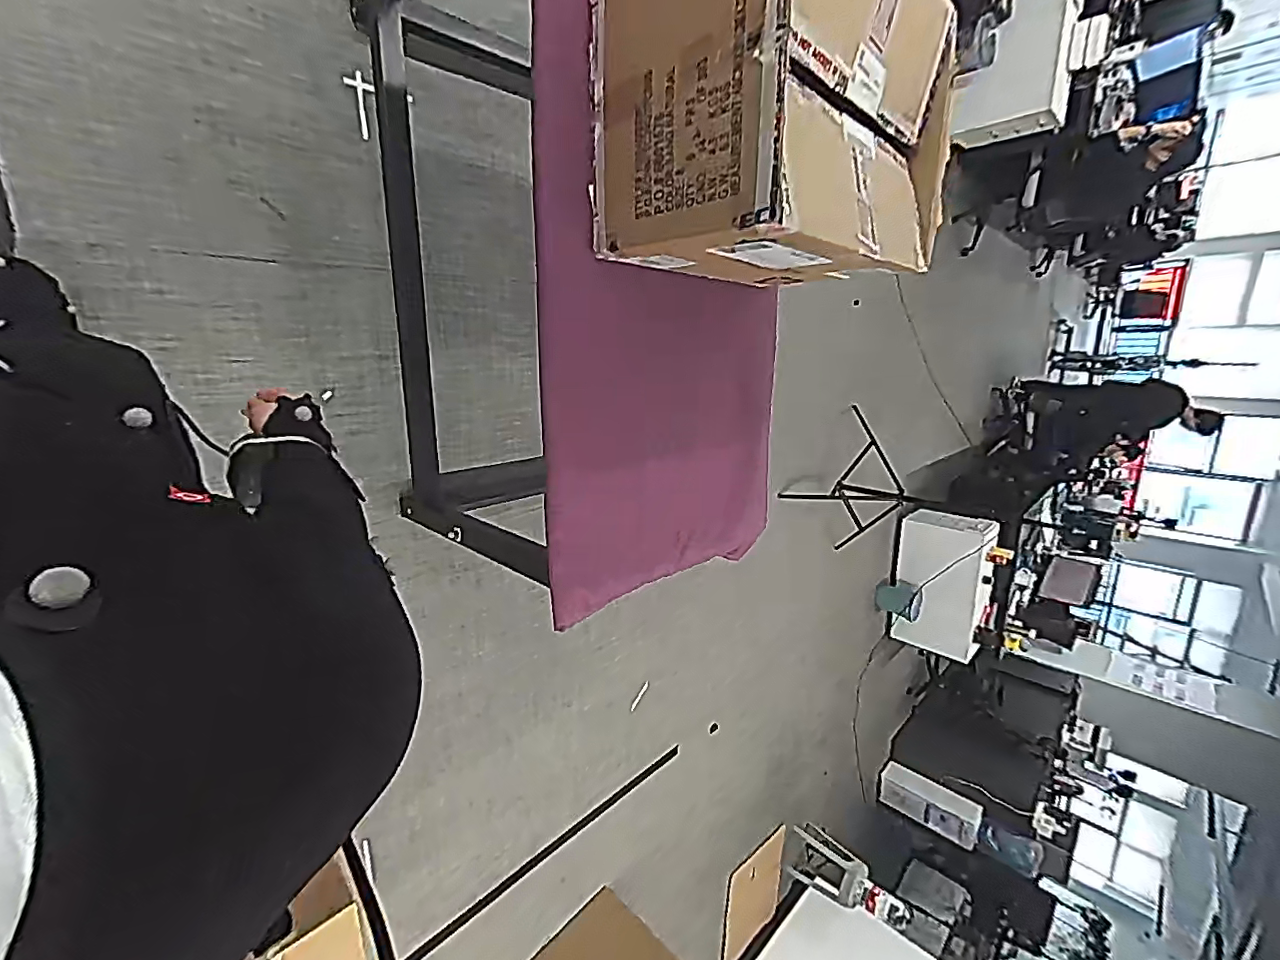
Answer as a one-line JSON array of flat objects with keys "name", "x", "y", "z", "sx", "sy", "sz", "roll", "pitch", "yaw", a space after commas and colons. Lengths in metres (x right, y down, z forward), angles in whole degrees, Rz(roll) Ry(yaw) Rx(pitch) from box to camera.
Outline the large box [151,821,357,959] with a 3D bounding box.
[{"name": "large box", "x": -0.851, "y": 1.103, "z": 1.221, "sx": 0.320, "sy": 0.320, "sz": 0.408, "roll": -15, "pitch": 109, "yaw": -44}]
